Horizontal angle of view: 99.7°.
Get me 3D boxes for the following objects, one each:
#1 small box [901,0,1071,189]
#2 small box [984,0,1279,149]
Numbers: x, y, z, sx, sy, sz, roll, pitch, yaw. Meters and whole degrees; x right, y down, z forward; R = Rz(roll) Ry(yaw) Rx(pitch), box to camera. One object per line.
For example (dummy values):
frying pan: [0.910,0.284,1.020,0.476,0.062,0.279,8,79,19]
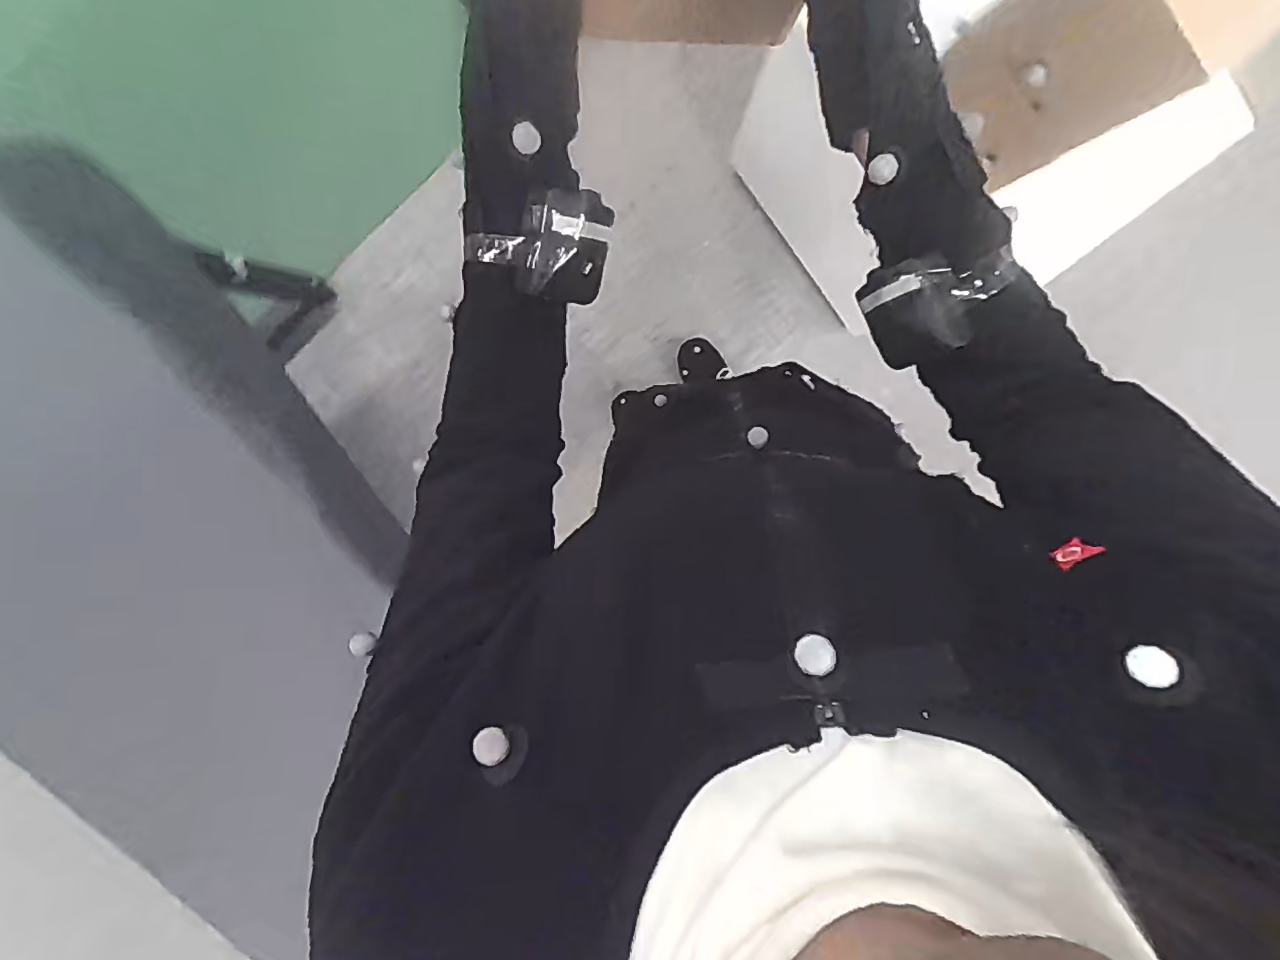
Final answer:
small box: [0.449,-0.473,0.628,0.168,0.176,0.179,-42,97,8]
small box: [0.455,-0.440,0.466,0.179,0.176,0.168,-44,99,7]
